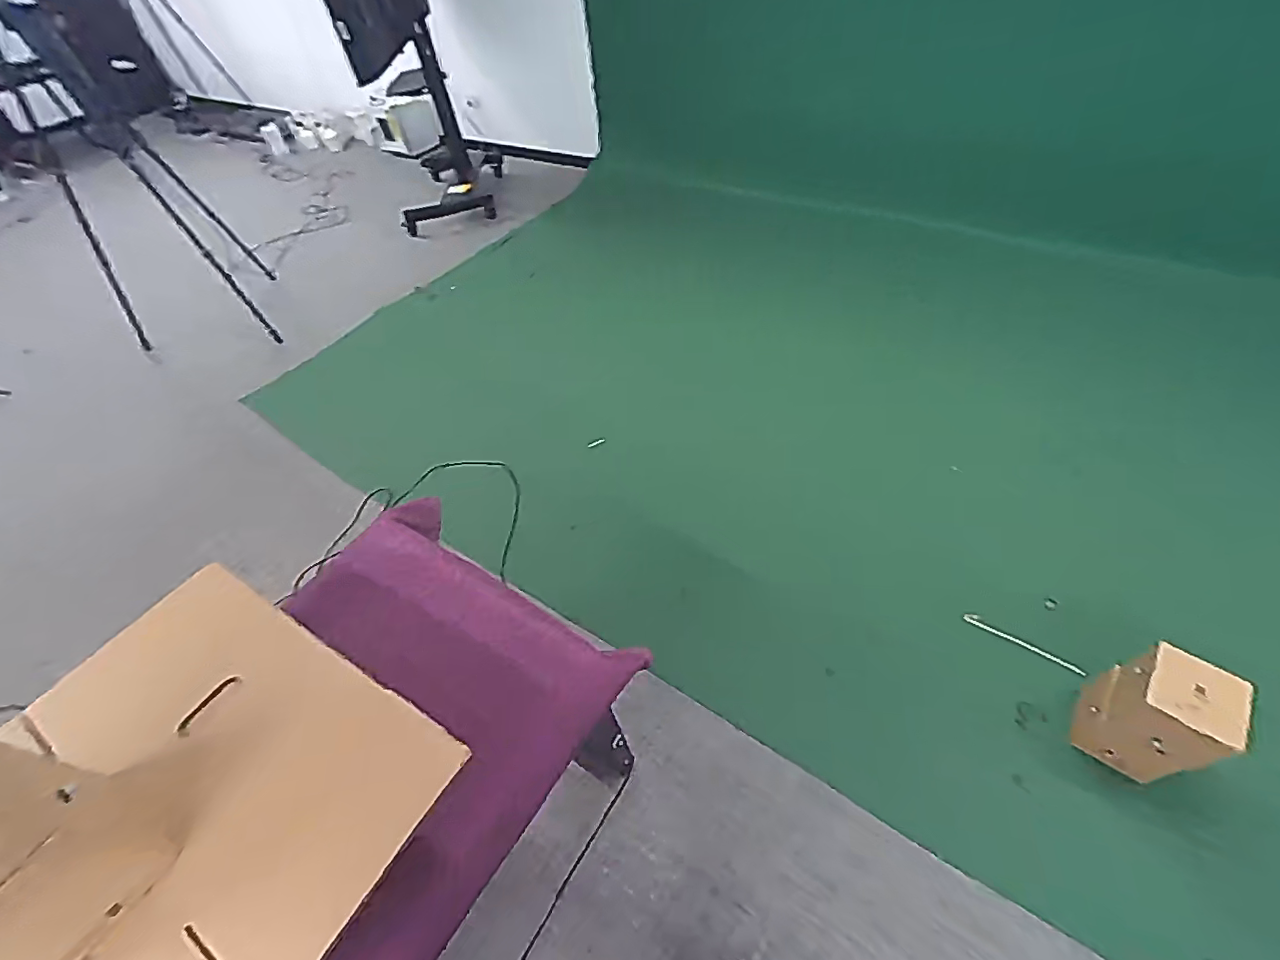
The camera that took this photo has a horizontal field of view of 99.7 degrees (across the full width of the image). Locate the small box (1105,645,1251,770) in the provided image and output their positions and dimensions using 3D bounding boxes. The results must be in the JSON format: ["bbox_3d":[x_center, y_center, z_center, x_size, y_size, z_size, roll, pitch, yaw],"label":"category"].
[{"bbox_3d":[1.203,0.514,1.219,0.168,0.176,0.179,30,60,27],"label":"small box"}]

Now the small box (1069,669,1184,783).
[{"bbox_3d":[1.218,0.615,1.349,0.168,0.176,0.179,28,59,26],"label":"small box"}]

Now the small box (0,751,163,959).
[{"bbox_3d":[-0.661,0.412,0.556,0.179,0.176,0.168,21,53,23],"label":"small box"}]
